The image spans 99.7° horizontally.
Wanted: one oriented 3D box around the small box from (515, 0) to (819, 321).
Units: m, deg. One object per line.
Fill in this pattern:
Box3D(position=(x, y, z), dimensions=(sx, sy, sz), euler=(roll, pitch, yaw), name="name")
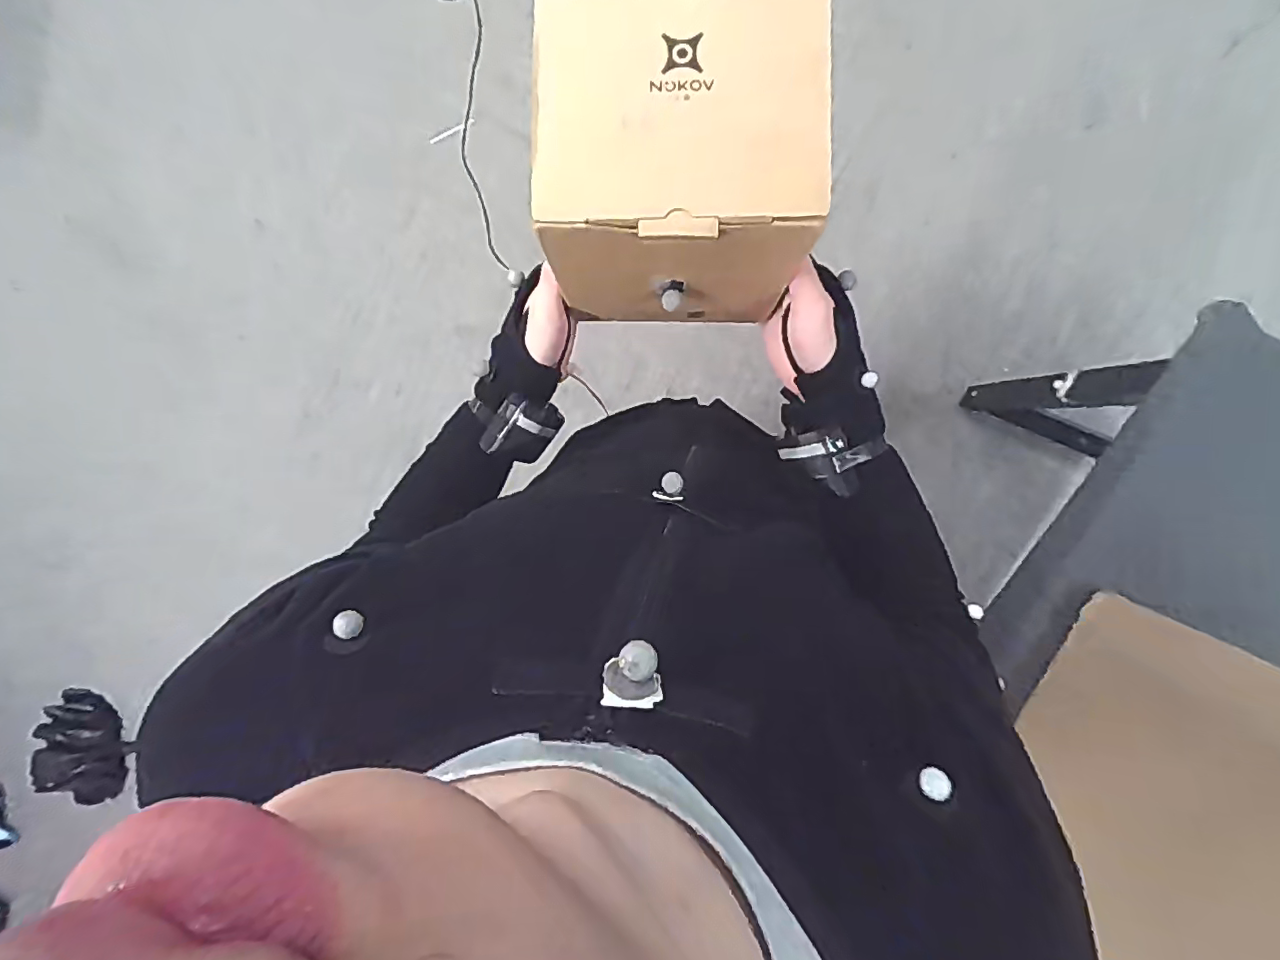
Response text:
Box3D(position=(0.016, -0.217, 0.375), dimensions=(0.168, 0.176, 0.179), euler=(1, 90, 1), name="small box")
